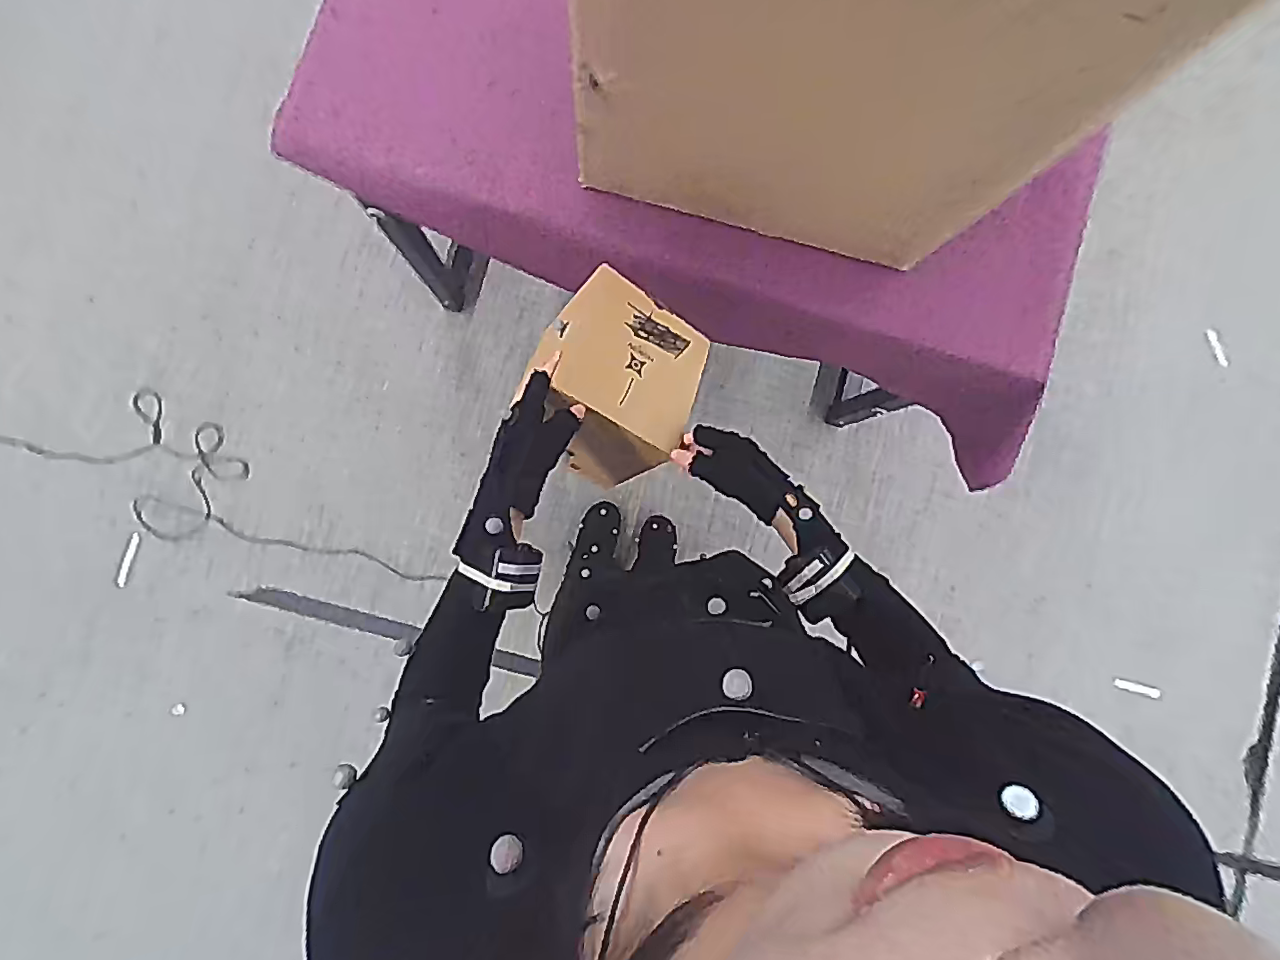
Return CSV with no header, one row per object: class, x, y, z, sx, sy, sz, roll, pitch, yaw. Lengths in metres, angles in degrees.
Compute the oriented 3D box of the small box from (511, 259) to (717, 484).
small box,-0.036,-0.119,0.661,0.168,0.176,0.179,29,63,-22
